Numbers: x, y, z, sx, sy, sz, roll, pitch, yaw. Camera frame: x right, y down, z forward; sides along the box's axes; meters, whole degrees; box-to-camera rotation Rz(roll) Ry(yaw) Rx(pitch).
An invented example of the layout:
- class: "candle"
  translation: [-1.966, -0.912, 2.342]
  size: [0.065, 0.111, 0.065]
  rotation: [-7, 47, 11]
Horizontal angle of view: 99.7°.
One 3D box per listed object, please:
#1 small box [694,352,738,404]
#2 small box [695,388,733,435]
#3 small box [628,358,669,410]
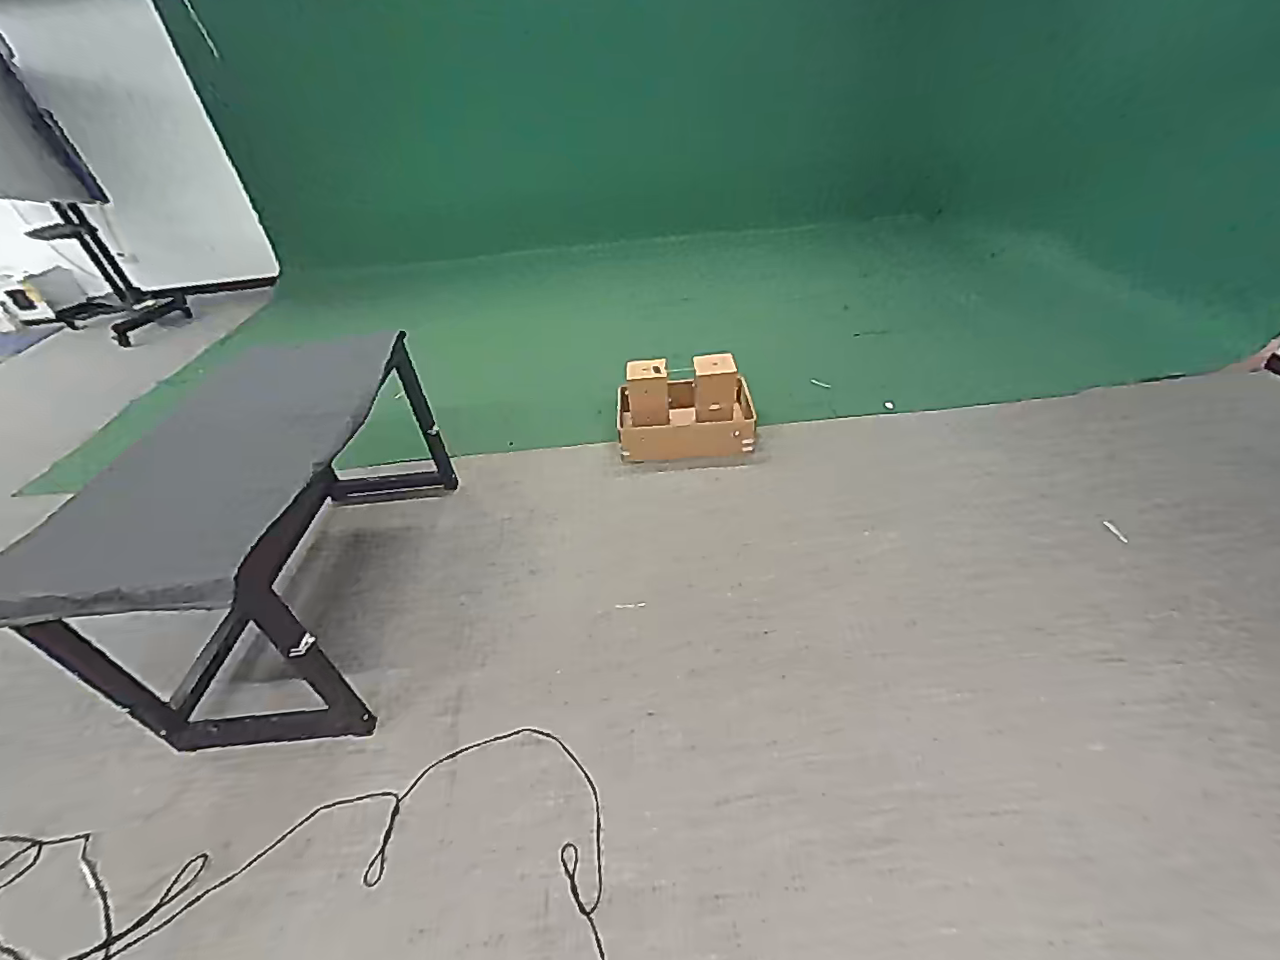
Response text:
- class: "small box"
  translation: [0.337, -0.451, 2.421]
  size: [0.179, 0.176, 0.168]
  rotation: [-5, 41, 1]
- class: "small box"
  translation: [0.345, -0.321, 2.520]
  size: [0.168, 0.176, 0.179]
  rotation: [-3, 41, 4]
- class: "small box"
  translation: [0.040, -0.431, 2.426]
  size: [0.179, 0.176, 0.168]
  rotation: [-4, 40, 3]
